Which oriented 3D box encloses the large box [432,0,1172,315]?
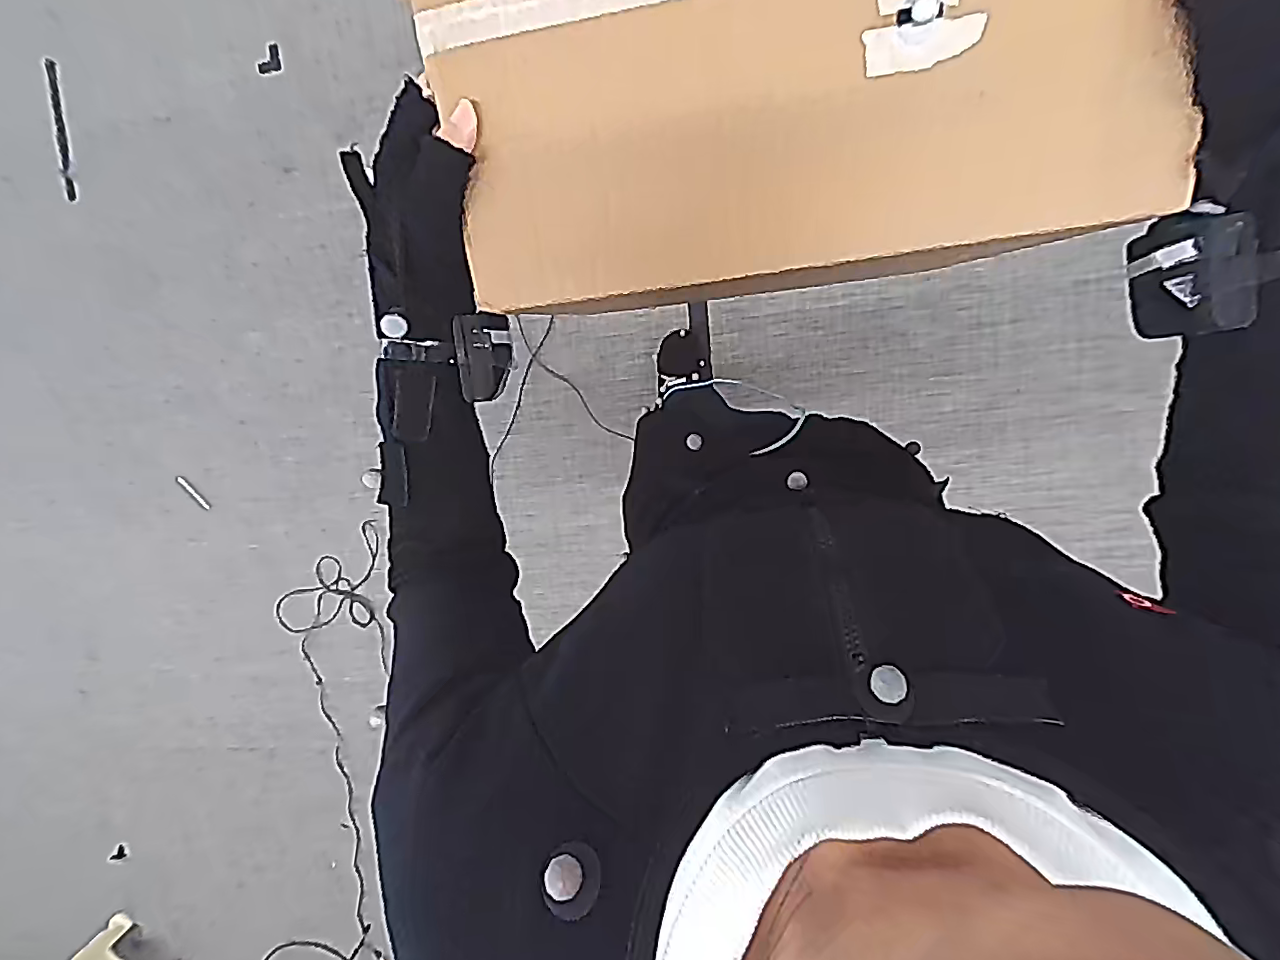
[{"bbox_3d":[0.090,-0.324,0.439,0.408,0.320,0.320,-6,106,9],"label":"large box"}]
